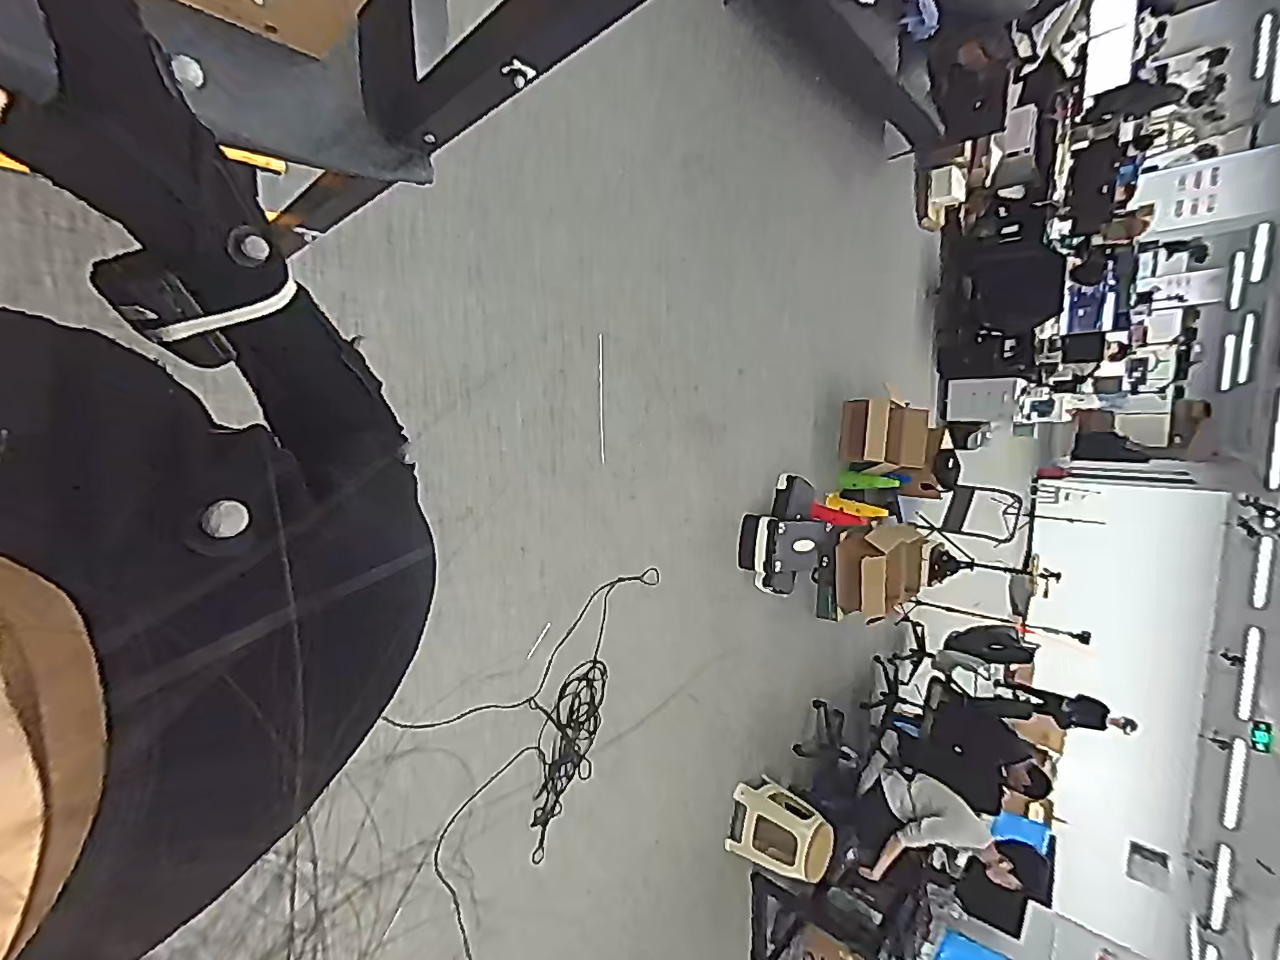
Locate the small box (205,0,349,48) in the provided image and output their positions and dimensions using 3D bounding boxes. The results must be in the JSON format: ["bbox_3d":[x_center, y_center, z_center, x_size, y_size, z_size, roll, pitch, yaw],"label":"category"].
[{"bbox_3d":[-0.399,-0.603,0.556,0.168,0.176,0.179,-8,100,-47],"label":"small box"}]
